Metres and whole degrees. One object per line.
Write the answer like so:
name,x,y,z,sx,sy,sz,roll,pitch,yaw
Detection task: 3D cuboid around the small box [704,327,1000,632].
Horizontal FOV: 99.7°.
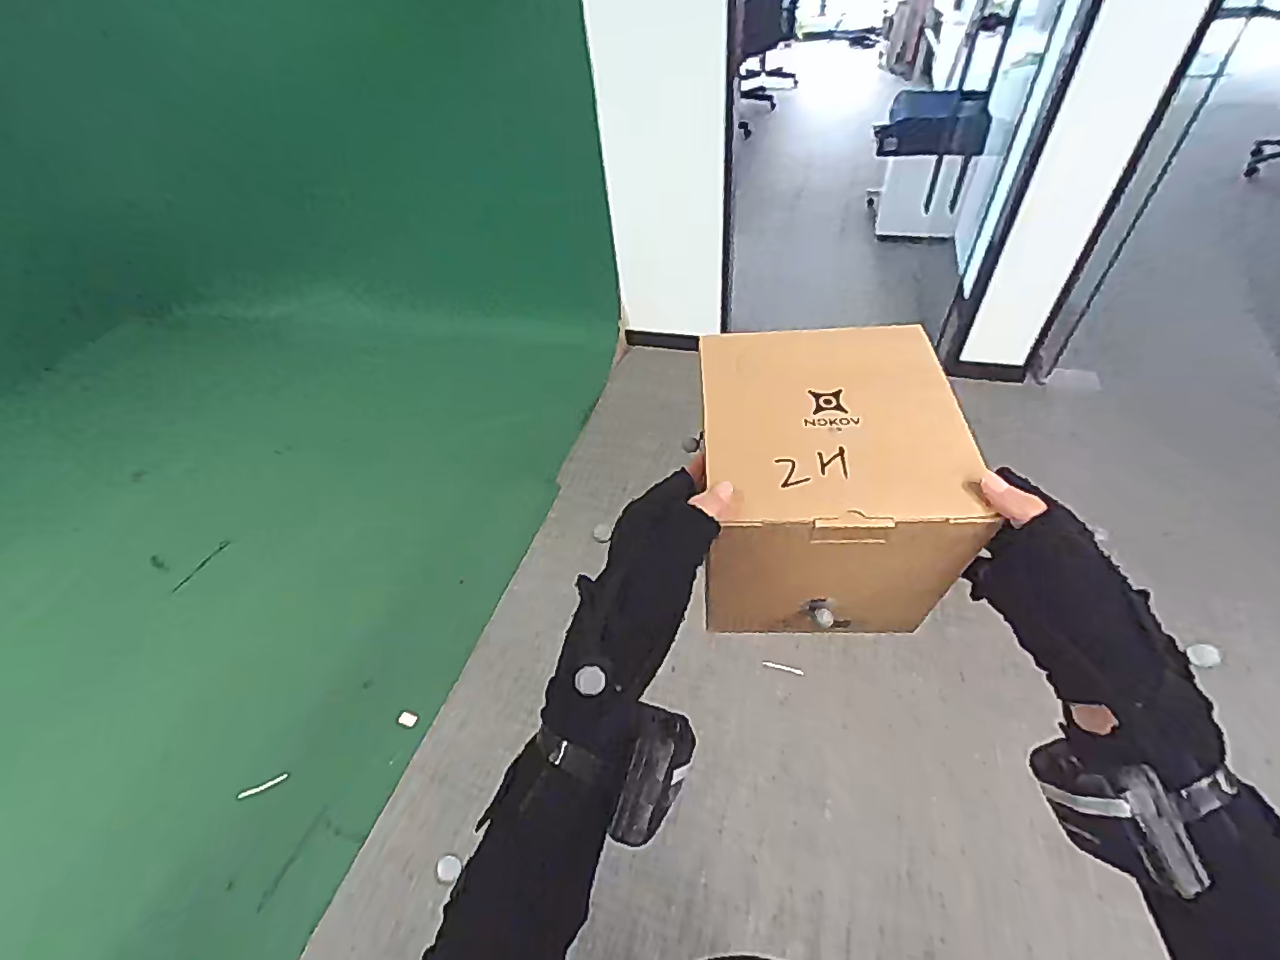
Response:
small box,0.135,0.002,0.426,0.168,0.176,0.179,-1,53,6
